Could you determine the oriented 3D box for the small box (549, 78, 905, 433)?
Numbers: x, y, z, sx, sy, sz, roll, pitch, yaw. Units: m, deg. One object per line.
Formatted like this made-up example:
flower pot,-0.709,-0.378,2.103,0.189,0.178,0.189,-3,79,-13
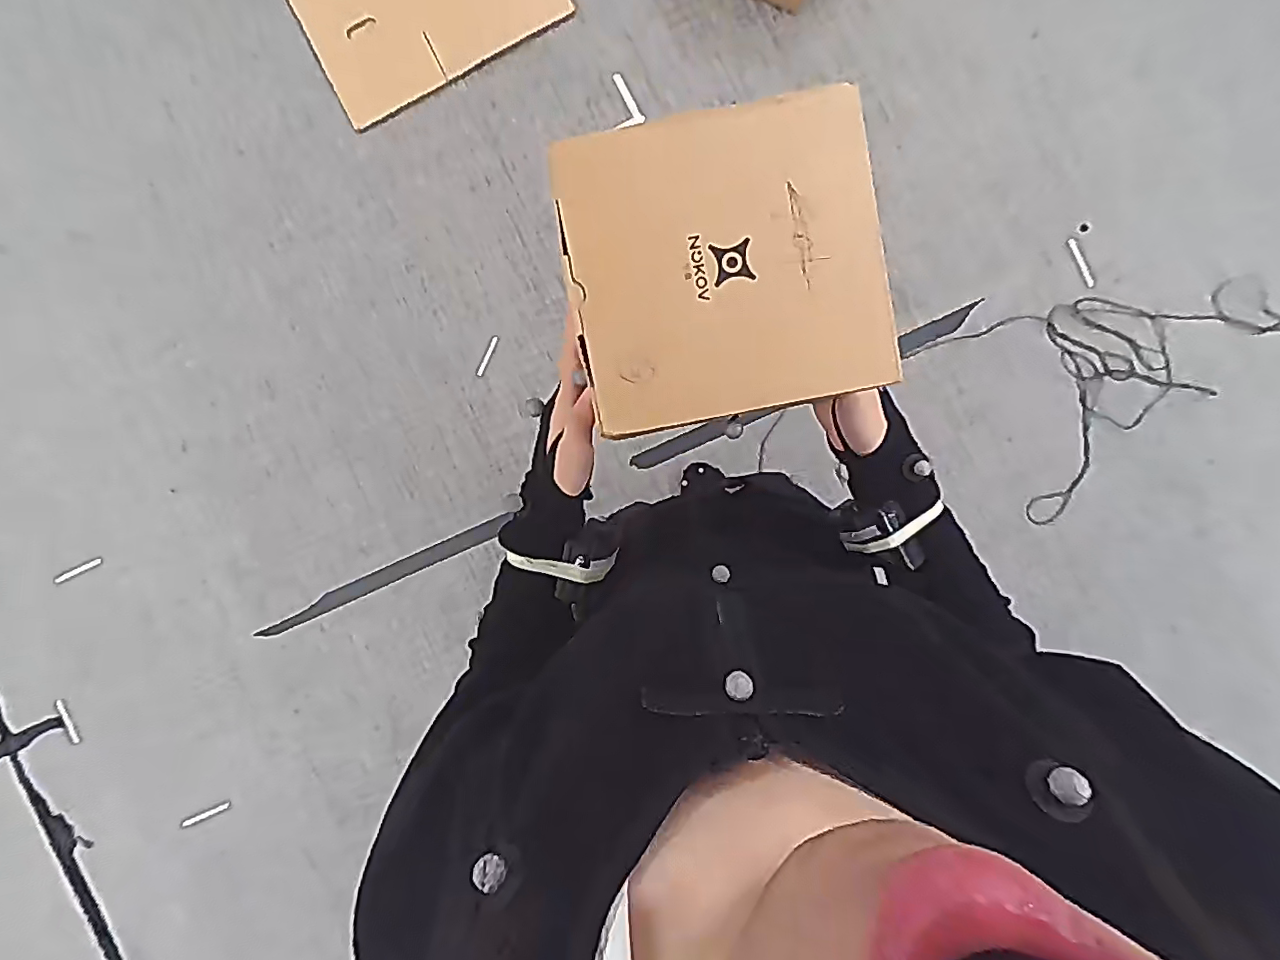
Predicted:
small box,0.050,-0.127,0.379,0.179,0.176,0.168,-11,95,1
